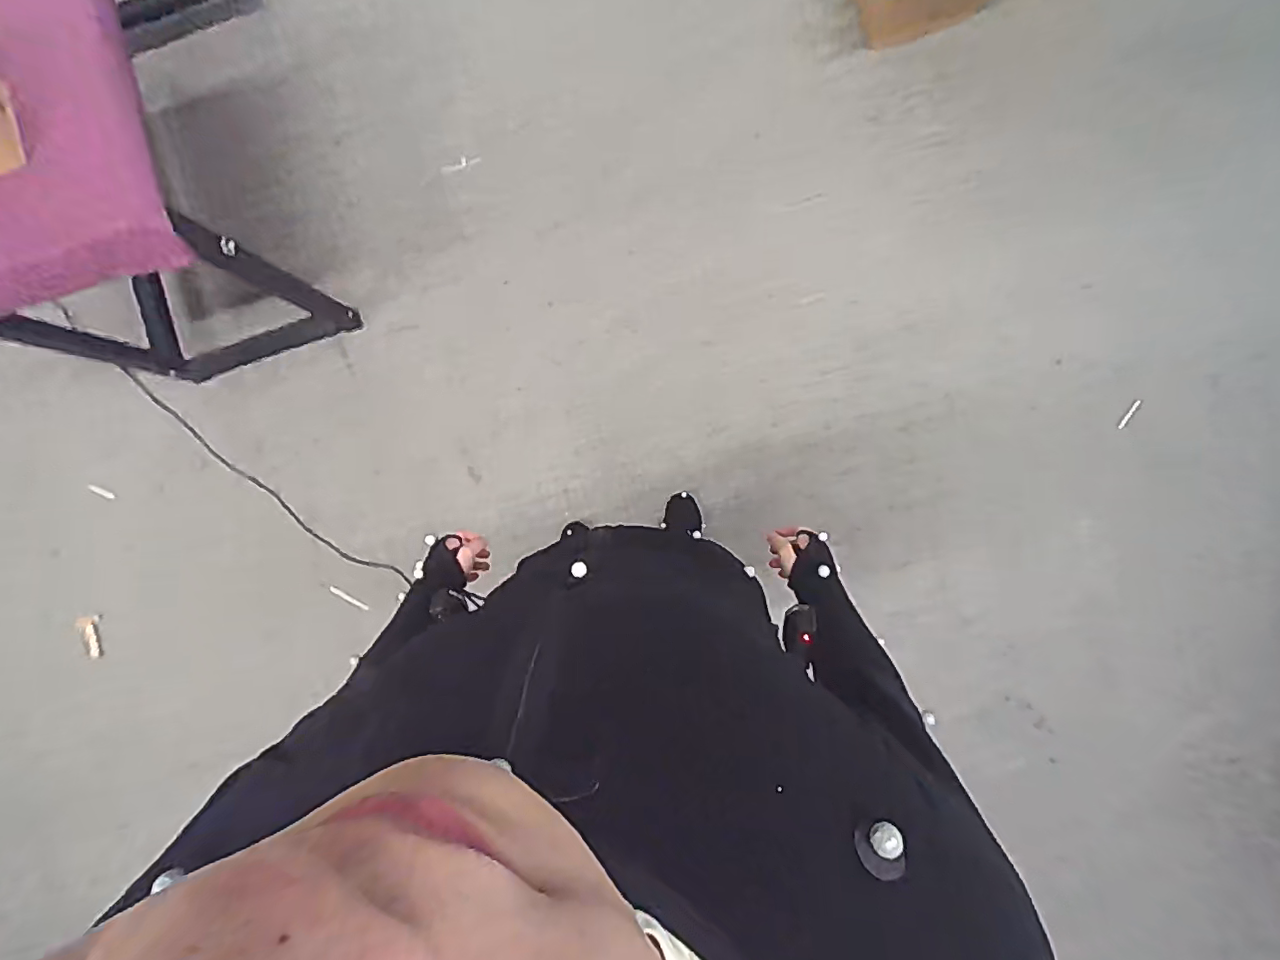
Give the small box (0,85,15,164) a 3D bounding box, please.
[{"bbox_3d":[-1.223,-0.630,0.894,0.179,0.176,0.168,-16,89,2],"label":"small box"}]
